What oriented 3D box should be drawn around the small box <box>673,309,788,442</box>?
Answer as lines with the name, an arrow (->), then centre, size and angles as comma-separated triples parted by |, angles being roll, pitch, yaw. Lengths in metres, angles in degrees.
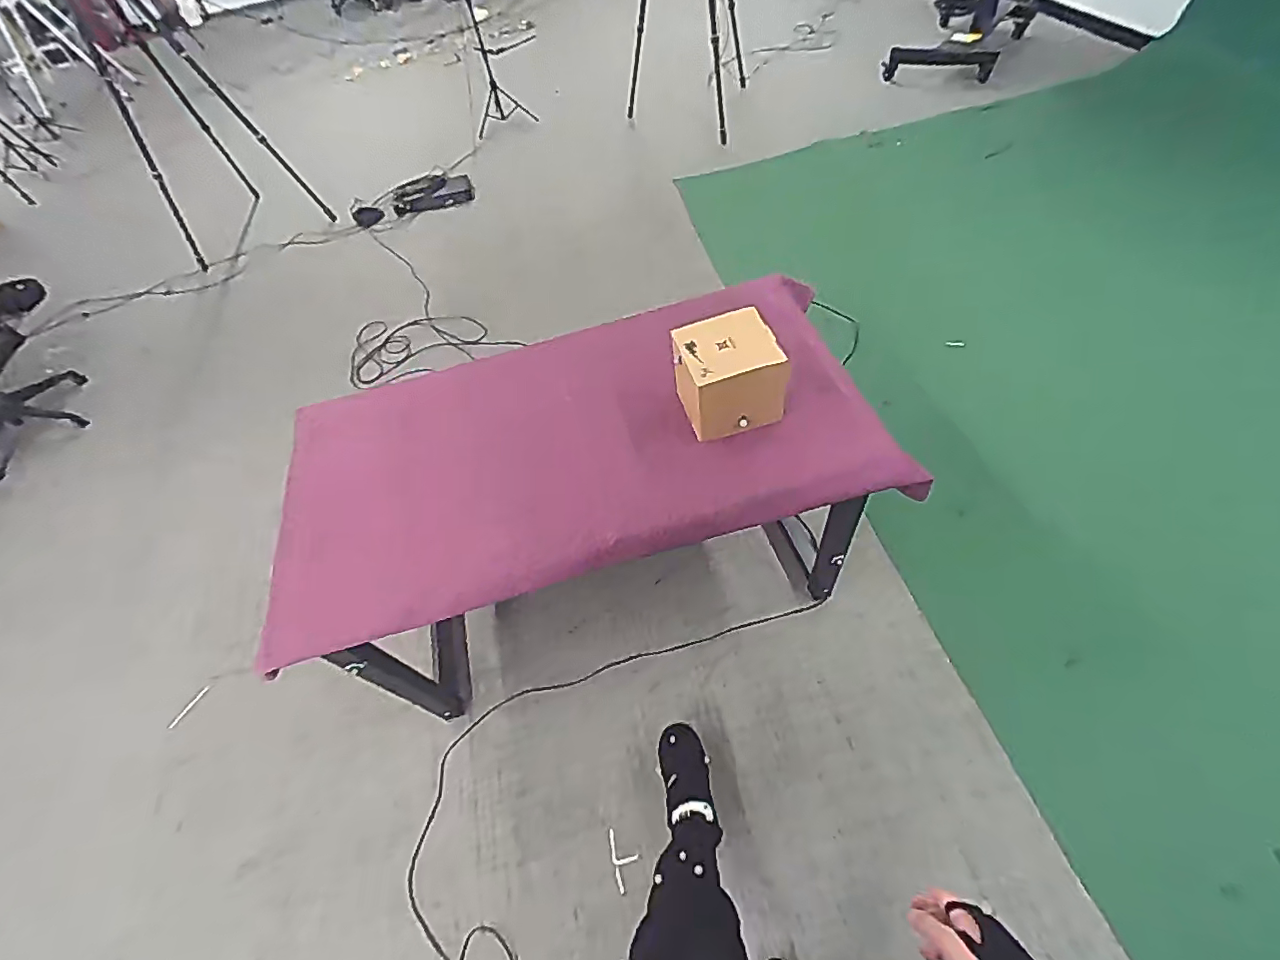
small box -> 0.172, -0.203, 1.071 | 0.179, 0.176, 0.168 | -16, 54, -3
